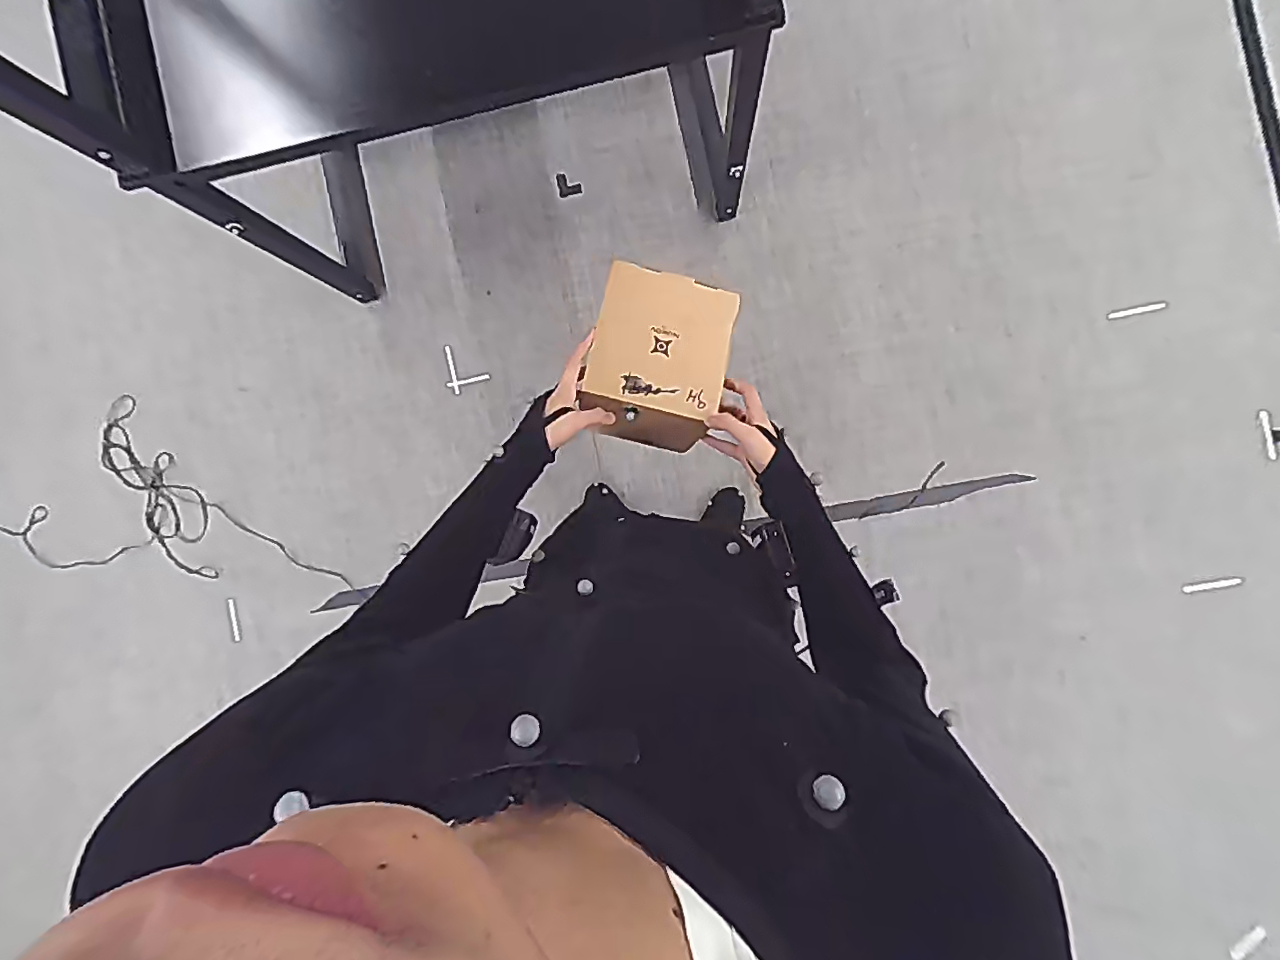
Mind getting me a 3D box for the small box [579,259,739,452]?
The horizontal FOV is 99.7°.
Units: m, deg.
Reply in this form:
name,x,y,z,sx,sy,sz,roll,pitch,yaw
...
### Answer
name,x,y,z,sx,sy,sz,roll,pitch,yaw
small box,0.015,-0.154,0.725,0.168,0.176,0.179,14,78,-5
